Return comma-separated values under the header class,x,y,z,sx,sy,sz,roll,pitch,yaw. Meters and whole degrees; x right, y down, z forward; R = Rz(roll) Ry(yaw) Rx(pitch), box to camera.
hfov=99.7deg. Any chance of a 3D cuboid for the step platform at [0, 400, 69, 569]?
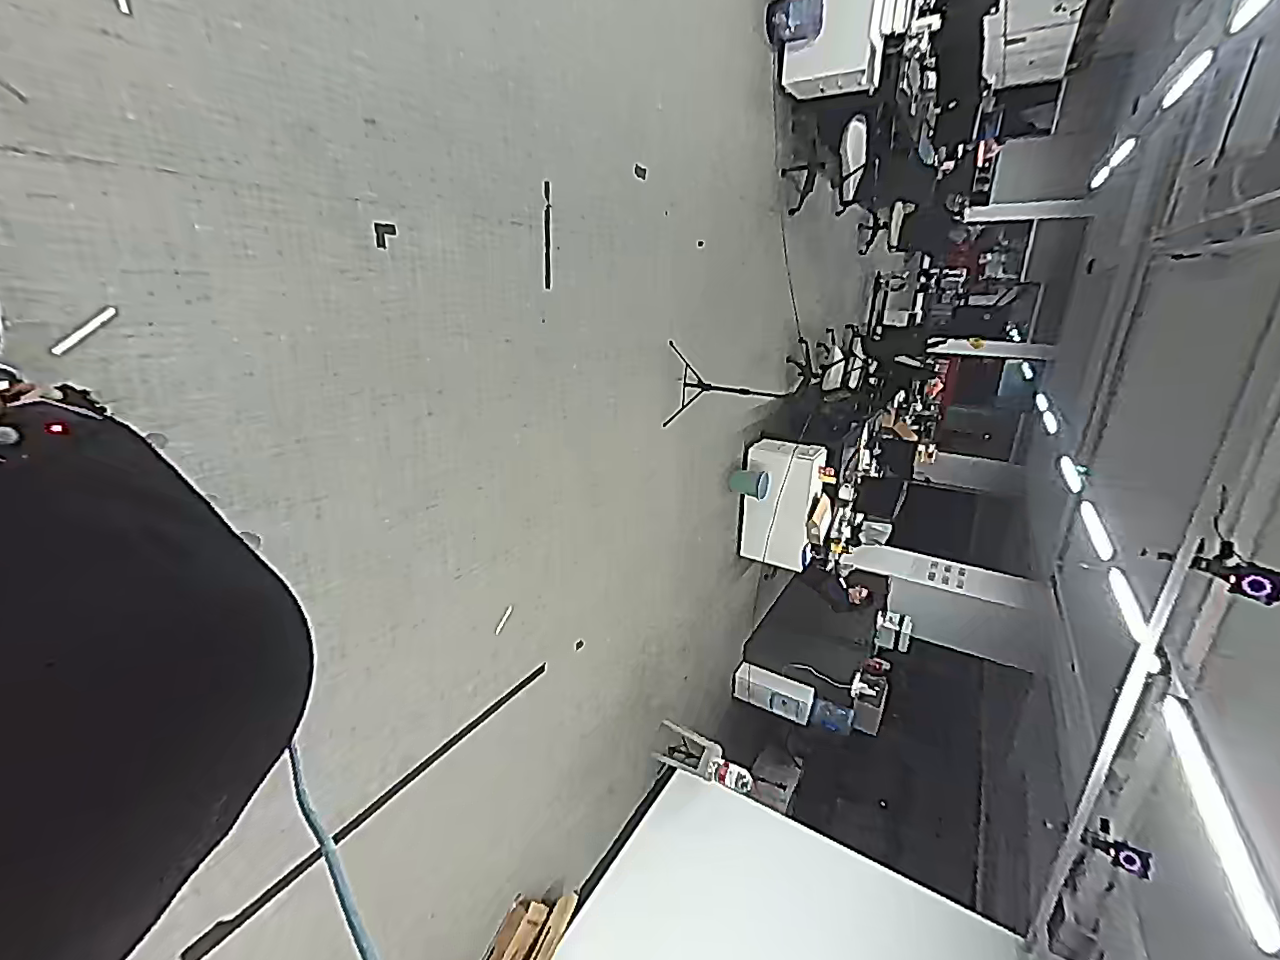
class,x,y,z,sx,sy,sz,roll,pitch,yaw
step platform,-1.300,0.050,0.760,0.684,0.204,0.286,-18,114,-55
